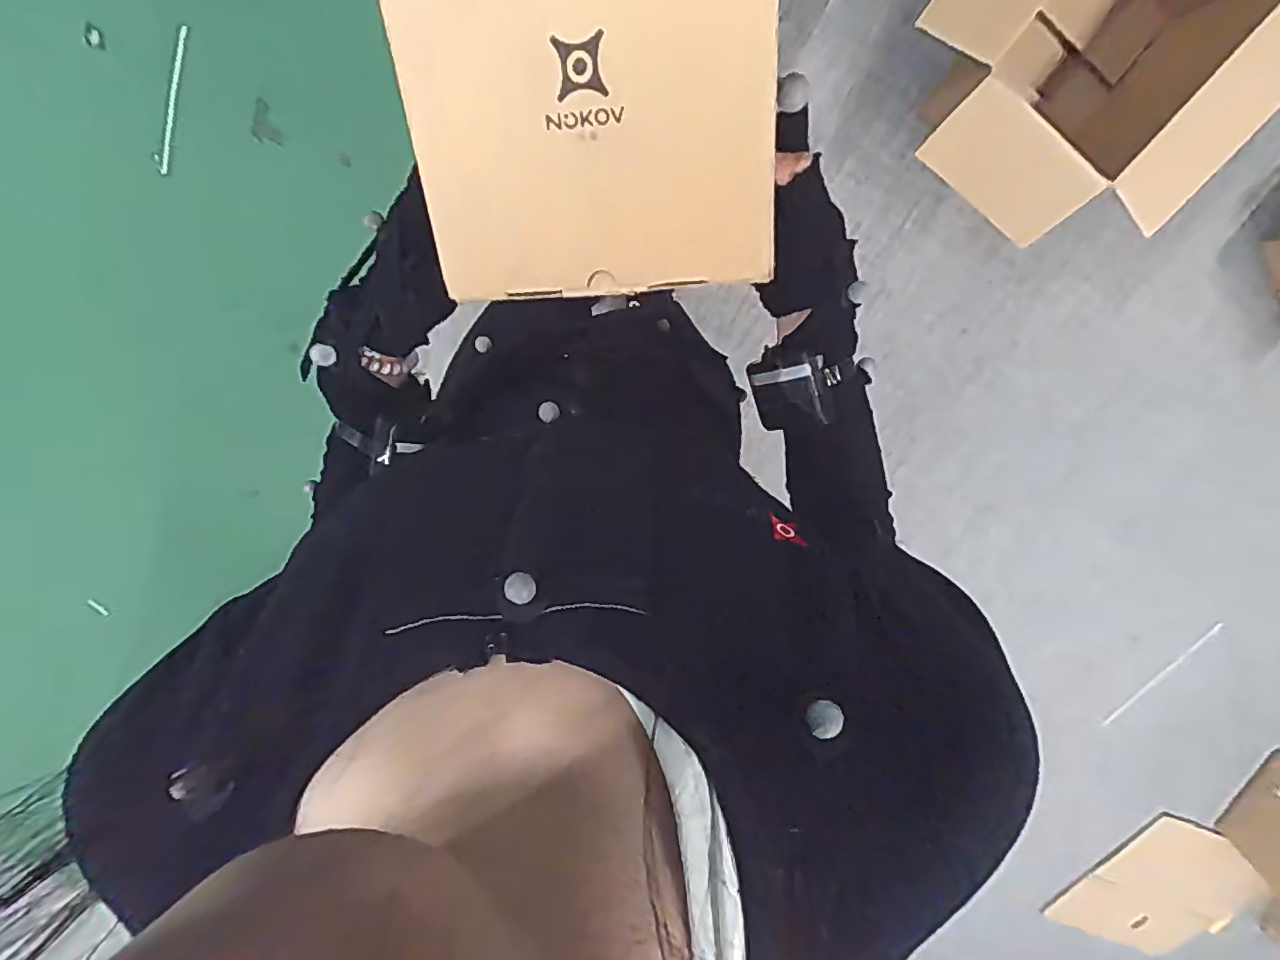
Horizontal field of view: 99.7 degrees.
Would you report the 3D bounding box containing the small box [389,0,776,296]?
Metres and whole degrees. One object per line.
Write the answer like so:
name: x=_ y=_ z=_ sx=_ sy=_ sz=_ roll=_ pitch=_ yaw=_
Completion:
small box: x=-0.014 y=-0.213 z=0.308 sx=0.168 sy=0.176 sz=0.179 roll=-1 pitch=119 yaw=10
